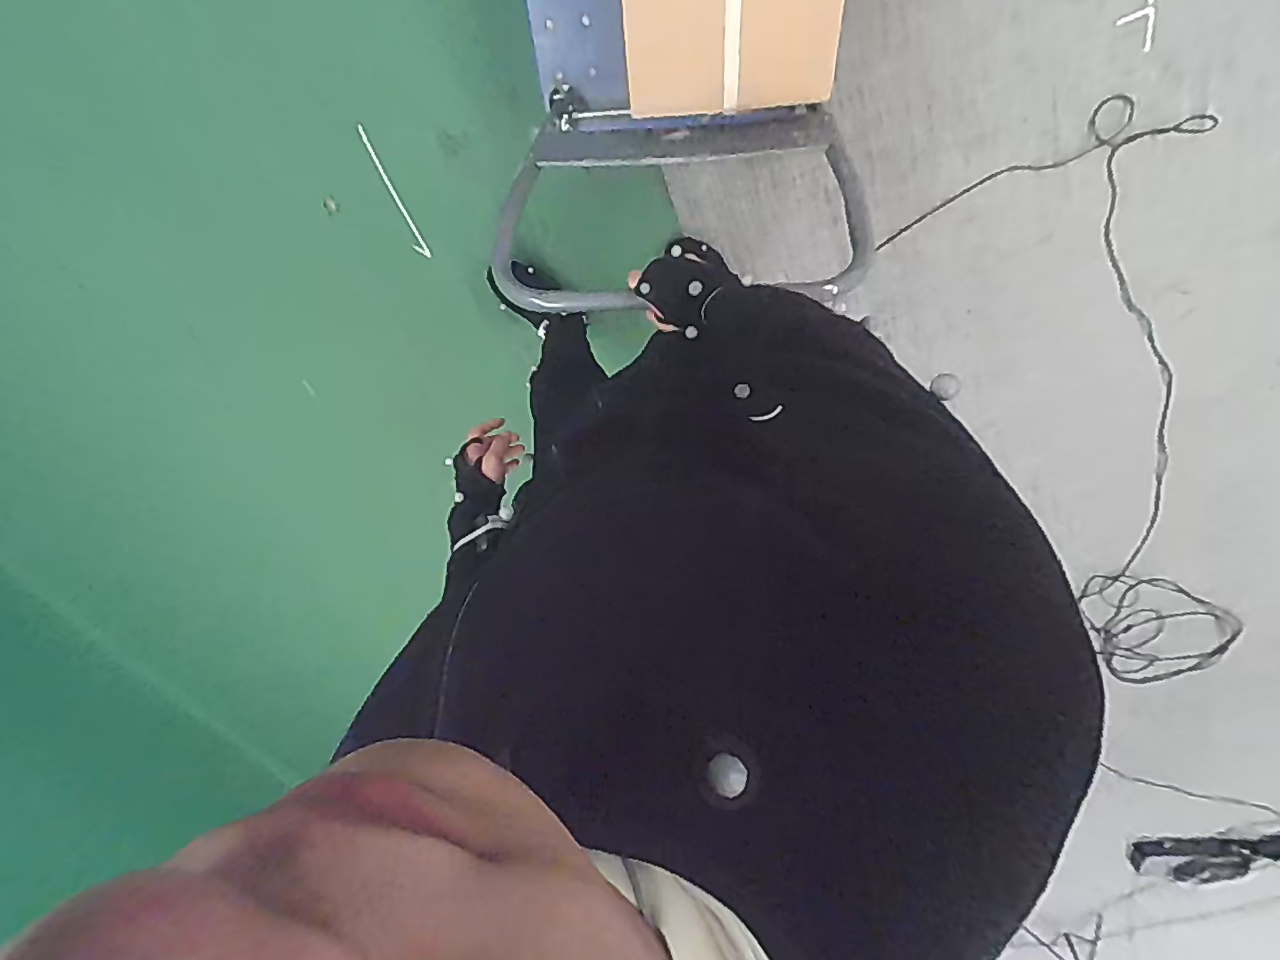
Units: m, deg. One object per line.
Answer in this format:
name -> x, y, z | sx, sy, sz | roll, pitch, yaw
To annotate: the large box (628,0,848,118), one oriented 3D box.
large box -> 0.142, -0.835, 0.822 | 0.320, 0.320, 0.408 | -1, 136, 7
